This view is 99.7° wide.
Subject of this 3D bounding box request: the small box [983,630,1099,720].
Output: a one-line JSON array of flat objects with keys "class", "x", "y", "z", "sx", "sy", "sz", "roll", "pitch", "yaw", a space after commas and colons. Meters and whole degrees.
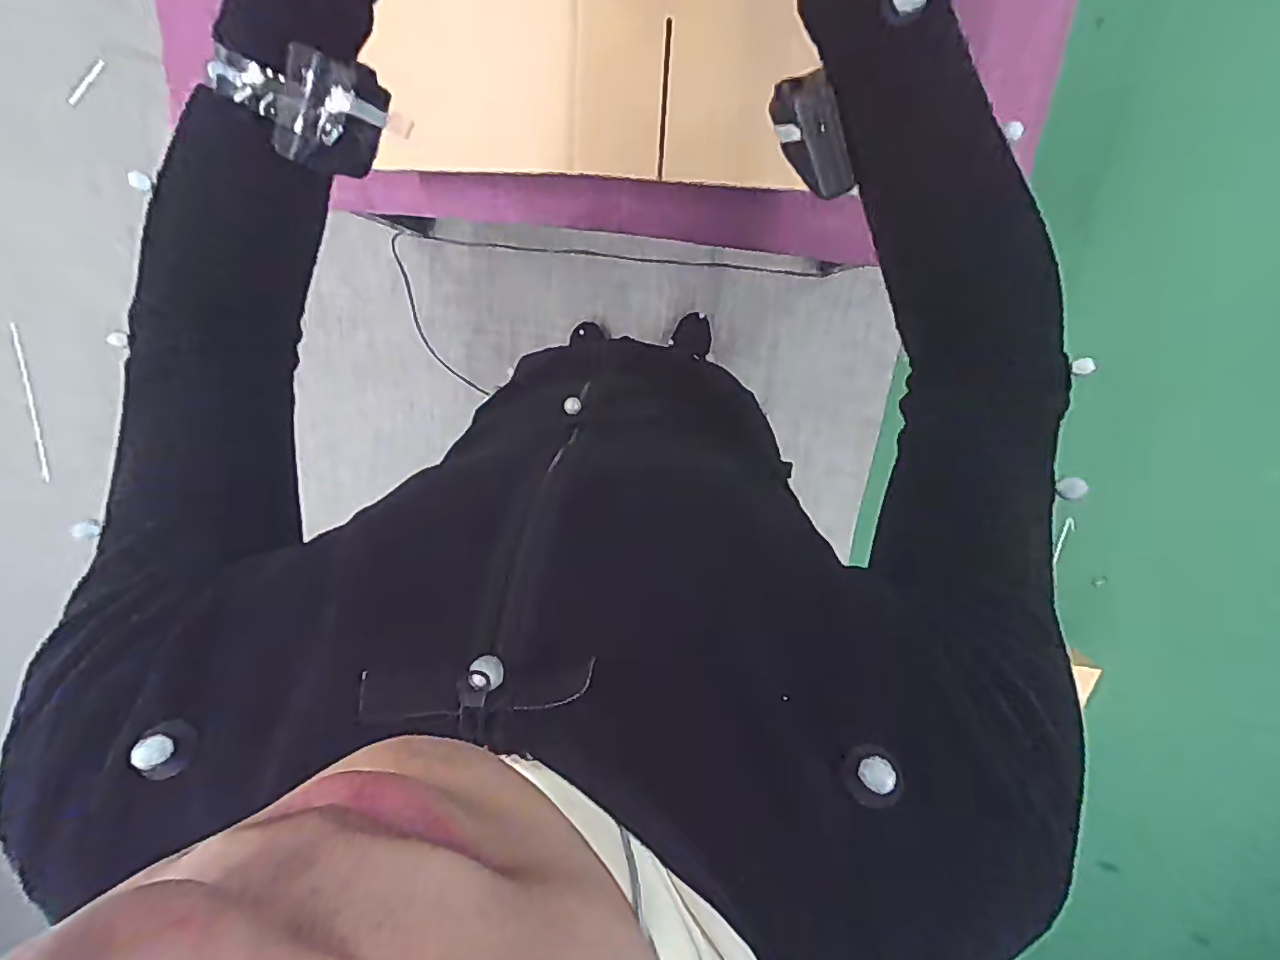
[{"class": "small box", "x": 1.144, "y": 0.557, "z": 1.559, "sx": 0.179, "sy": 0.176, "sz": 0.168, "roll": 11, "pitch": 106, "yaw": -2}]
